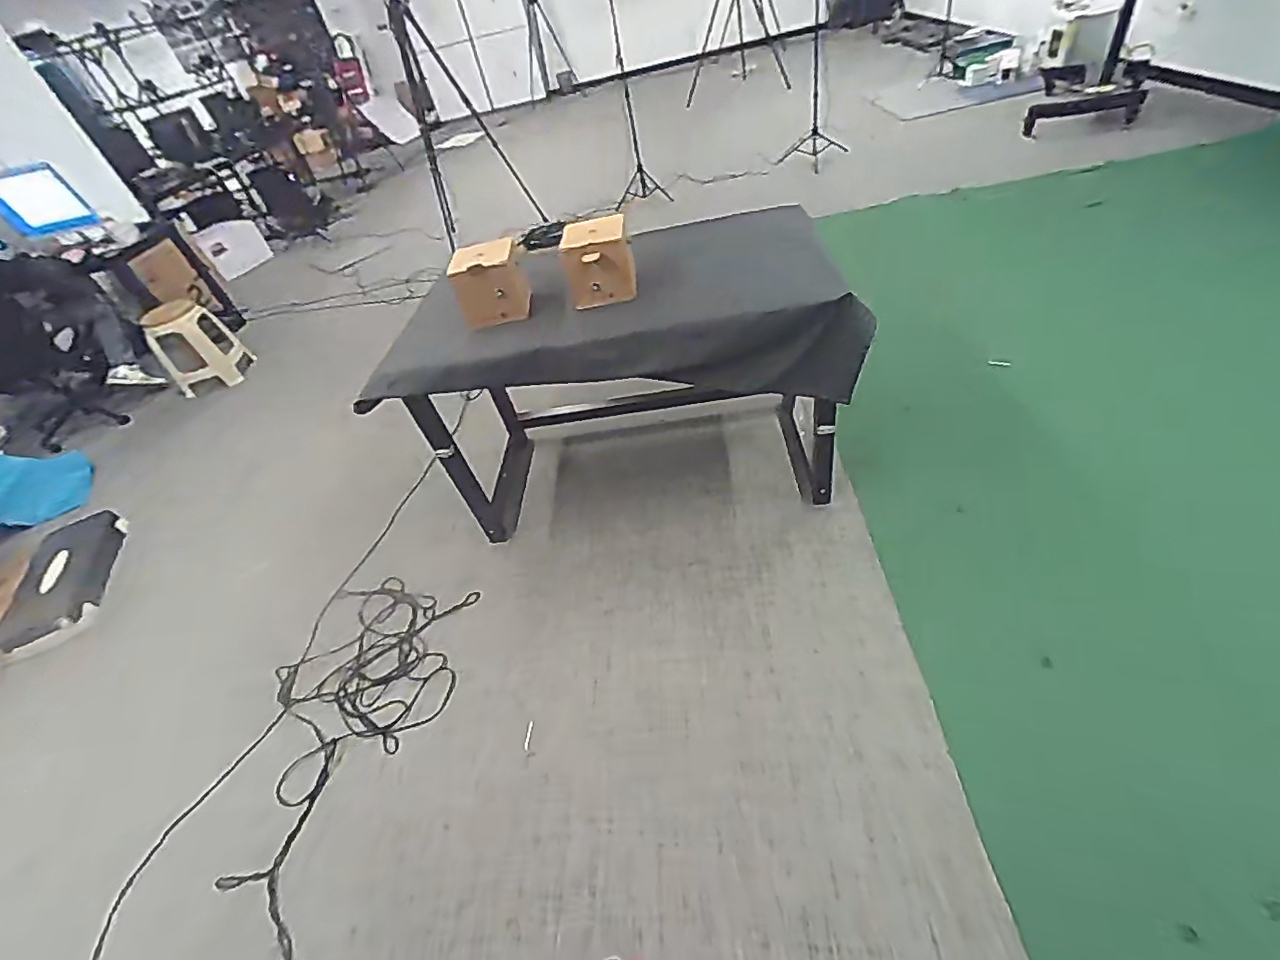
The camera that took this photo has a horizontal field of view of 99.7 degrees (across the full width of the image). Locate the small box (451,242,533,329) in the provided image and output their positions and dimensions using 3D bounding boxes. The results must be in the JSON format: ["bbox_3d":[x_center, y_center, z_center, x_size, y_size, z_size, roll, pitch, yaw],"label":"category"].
[{"bbox_3d":[-0.402,-0.532,1.500,0.168,0.176,0.179,-11,42,3],"label":"small box"}]

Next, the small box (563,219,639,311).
[{"bbox_3d":[-0.099,-0.579,1.464,0.168,0.176,0.179,-7,44,8],"label":"small box"}]
